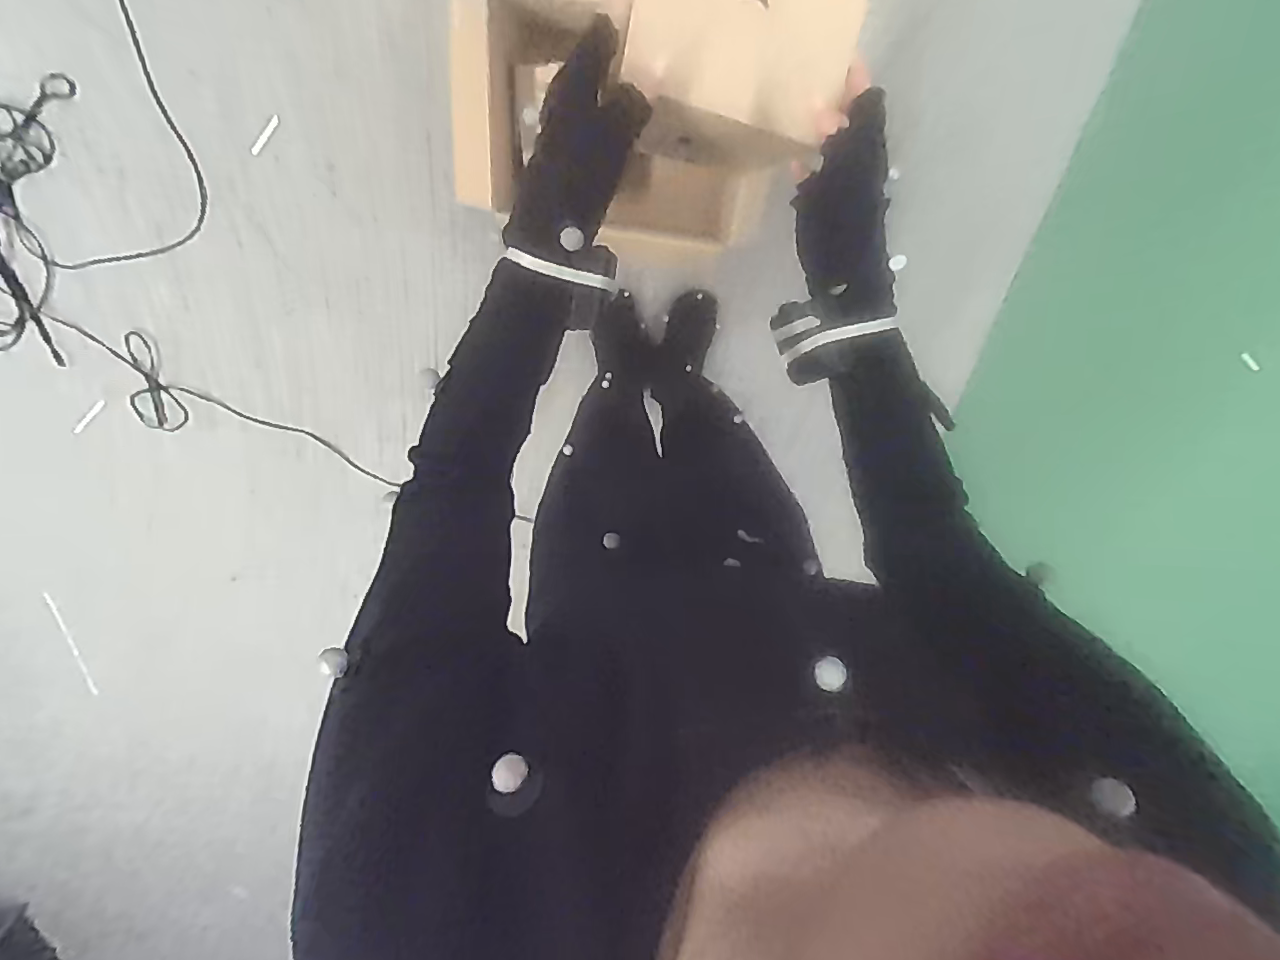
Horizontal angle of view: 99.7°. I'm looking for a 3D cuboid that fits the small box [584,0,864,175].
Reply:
[{"bbox_3d":[0.057,-0.362,0.426,0.168,0.176,0.179,6,109,-18],"label":"small box"}]
